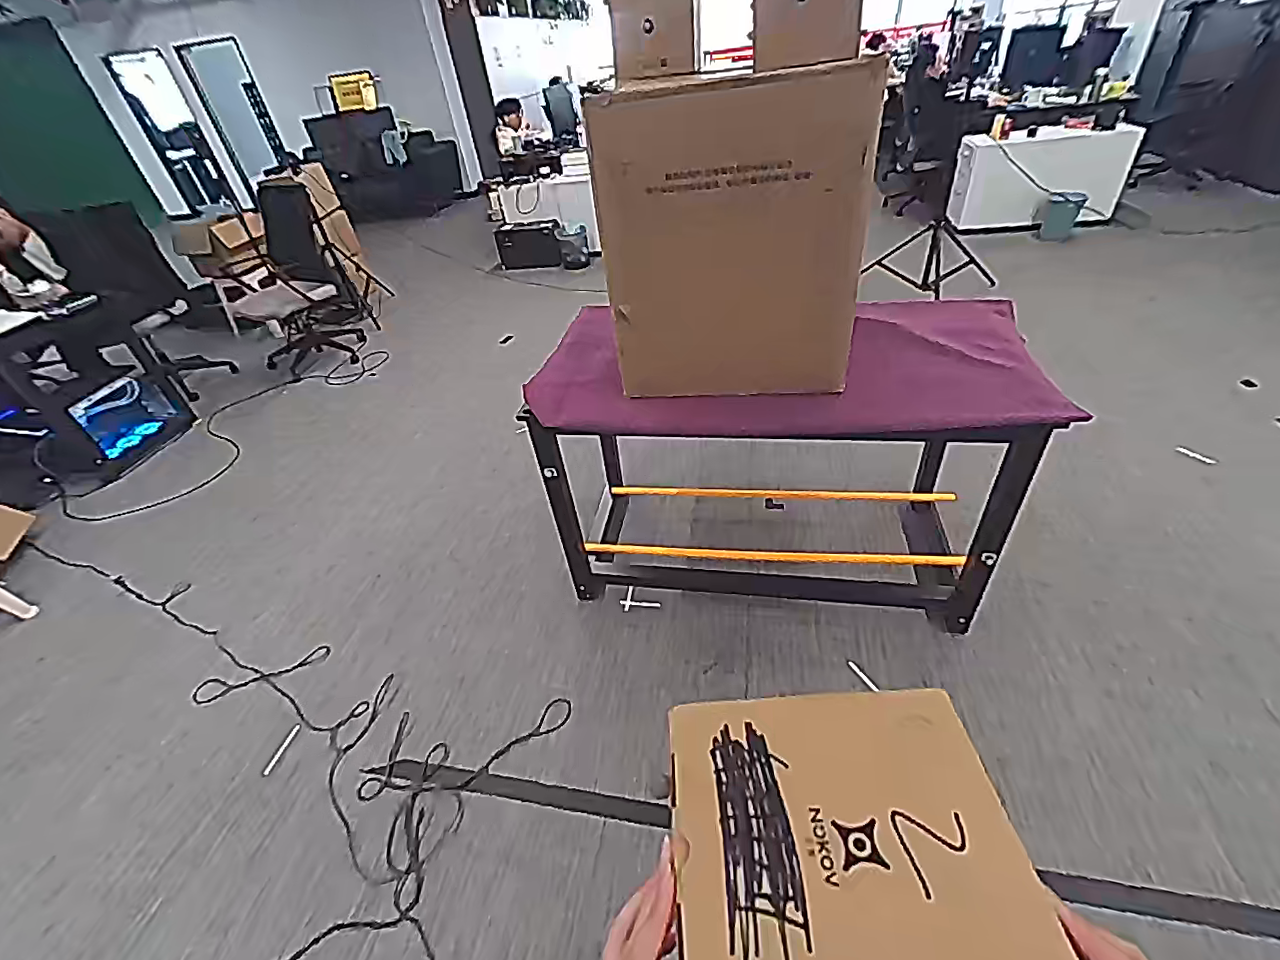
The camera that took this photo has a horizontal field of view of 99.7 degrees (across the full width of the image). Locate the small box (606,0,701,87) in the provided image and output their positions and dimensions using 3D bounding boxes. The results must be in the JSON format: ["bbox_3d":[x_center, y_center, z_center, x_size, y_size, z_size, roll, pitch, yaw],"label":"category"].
[{"bbox_3d":[0.036,-0.916,1.104,0.168,0.176,0.179,2,40,10],"label":"small box"}]
